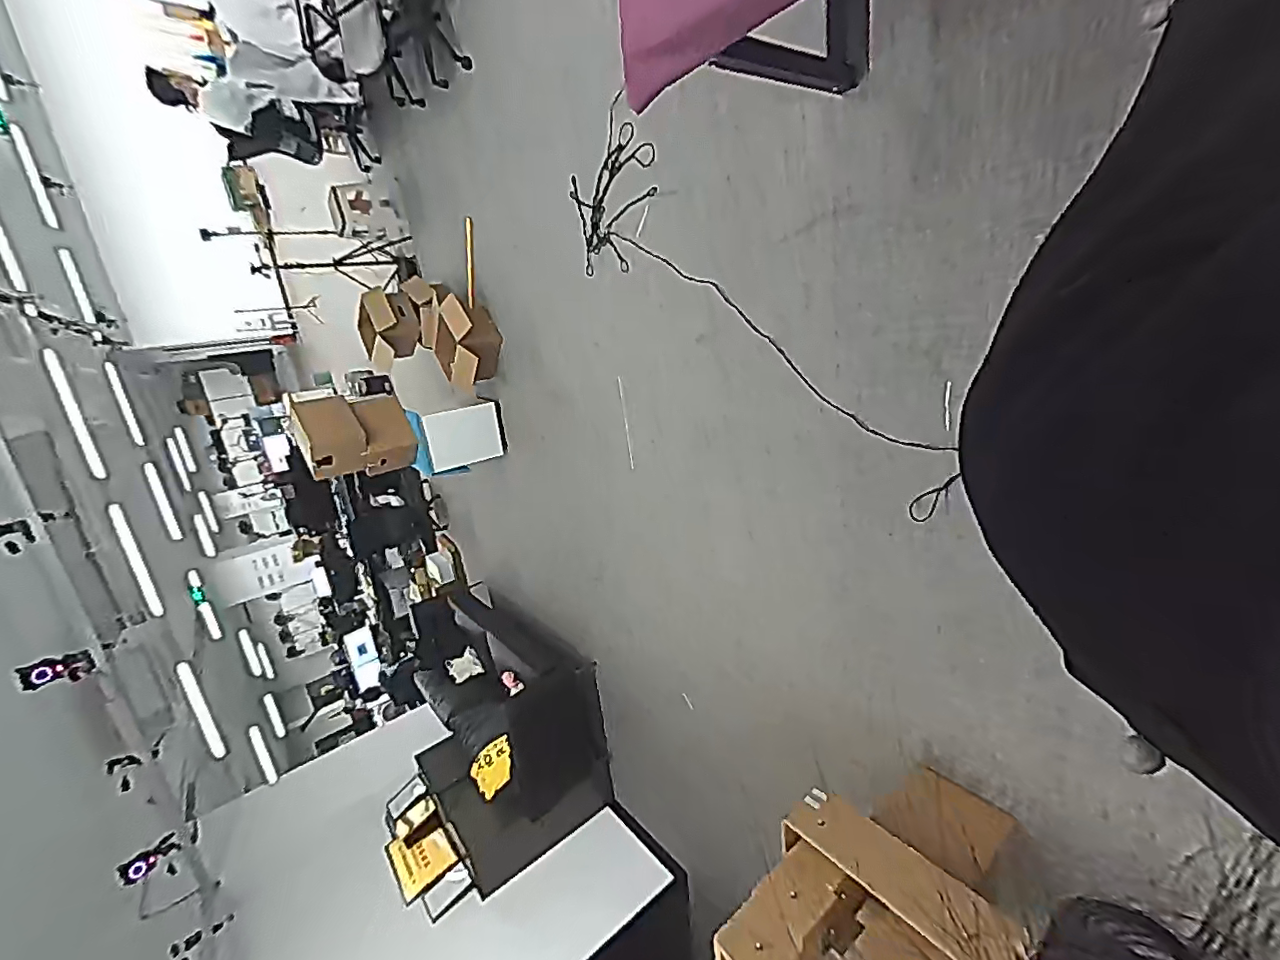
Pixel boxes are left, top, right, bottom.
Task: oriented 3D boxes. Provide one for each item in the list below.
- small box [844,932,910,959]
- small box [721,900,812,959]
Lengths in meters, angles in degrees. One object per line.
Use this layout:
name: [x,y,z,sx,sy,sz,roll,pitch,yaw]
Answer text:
small box: [0.617,1.300,1.363,0.179,0.176,0.168,26,128,50]
small box: [0.339,1.291,1.459,0.179,0.176,0.168,19,121,49]
